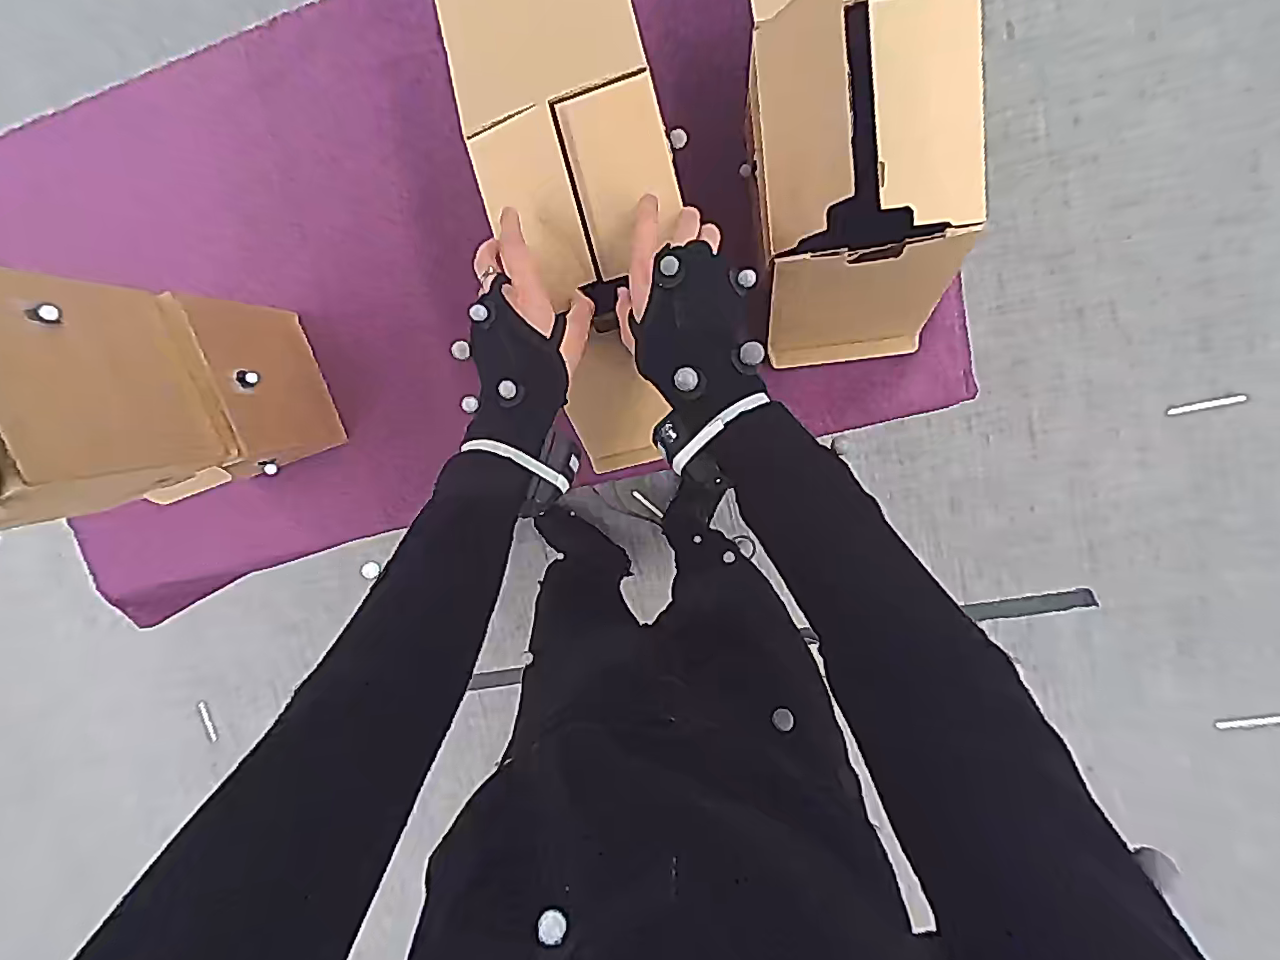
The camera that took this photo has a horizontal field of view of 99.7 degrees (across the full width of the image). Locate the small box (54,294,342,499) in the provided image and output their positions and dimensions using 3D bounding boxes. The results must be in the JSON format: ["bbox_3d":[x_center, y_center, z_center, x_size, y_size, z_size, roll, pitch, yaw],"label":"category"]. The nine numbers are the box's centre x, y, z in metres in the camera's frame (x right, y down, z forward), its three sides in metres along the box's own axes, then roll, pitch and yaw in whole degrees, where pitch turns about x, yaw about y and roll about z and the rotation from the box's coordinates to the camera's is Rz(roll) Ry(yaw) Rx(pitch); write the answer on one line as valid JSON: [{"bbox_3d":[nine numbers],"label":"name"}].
[{"bbox_3d":[-0.490,-0.096,0.630,0.168,0.176,0.179,-16,98,10],"label":"small box"}]

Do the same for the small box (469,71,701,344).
[{"bbox_3d":[-0.038,-0.244,0.537,0.168,0.176,0.179,-13,99,11],"label":"small box"}]
